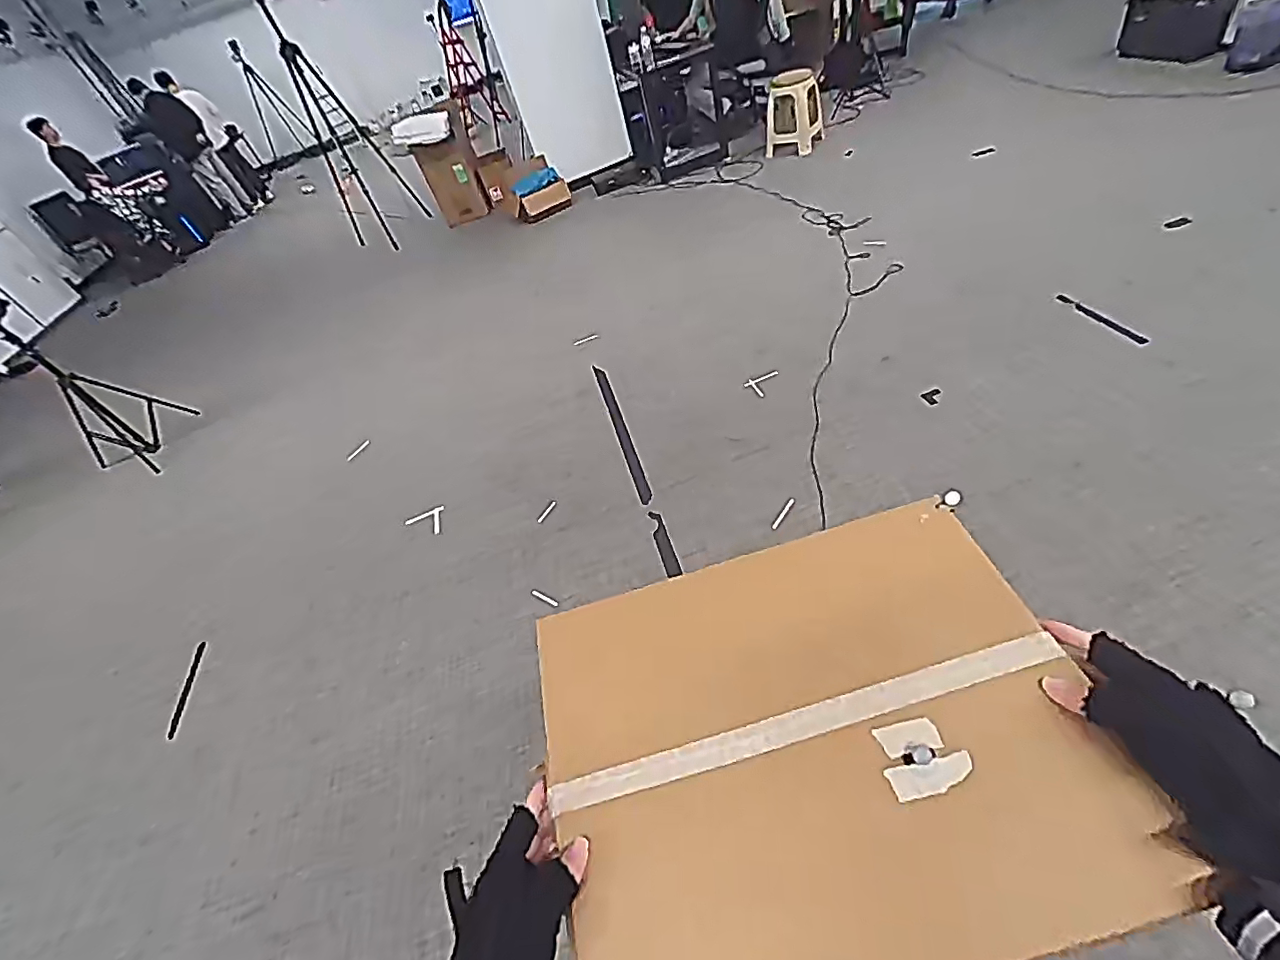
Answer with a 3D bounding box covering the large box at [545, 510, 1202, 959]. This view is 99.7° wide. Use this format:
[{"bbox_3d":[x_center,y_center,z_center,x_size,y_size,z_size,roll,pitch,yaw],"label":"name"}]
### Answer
[{"bbox_3d":[0.157,0.292,0.542,0.408,0.320,0.320,-18,49,1],"label":"large box"}]
